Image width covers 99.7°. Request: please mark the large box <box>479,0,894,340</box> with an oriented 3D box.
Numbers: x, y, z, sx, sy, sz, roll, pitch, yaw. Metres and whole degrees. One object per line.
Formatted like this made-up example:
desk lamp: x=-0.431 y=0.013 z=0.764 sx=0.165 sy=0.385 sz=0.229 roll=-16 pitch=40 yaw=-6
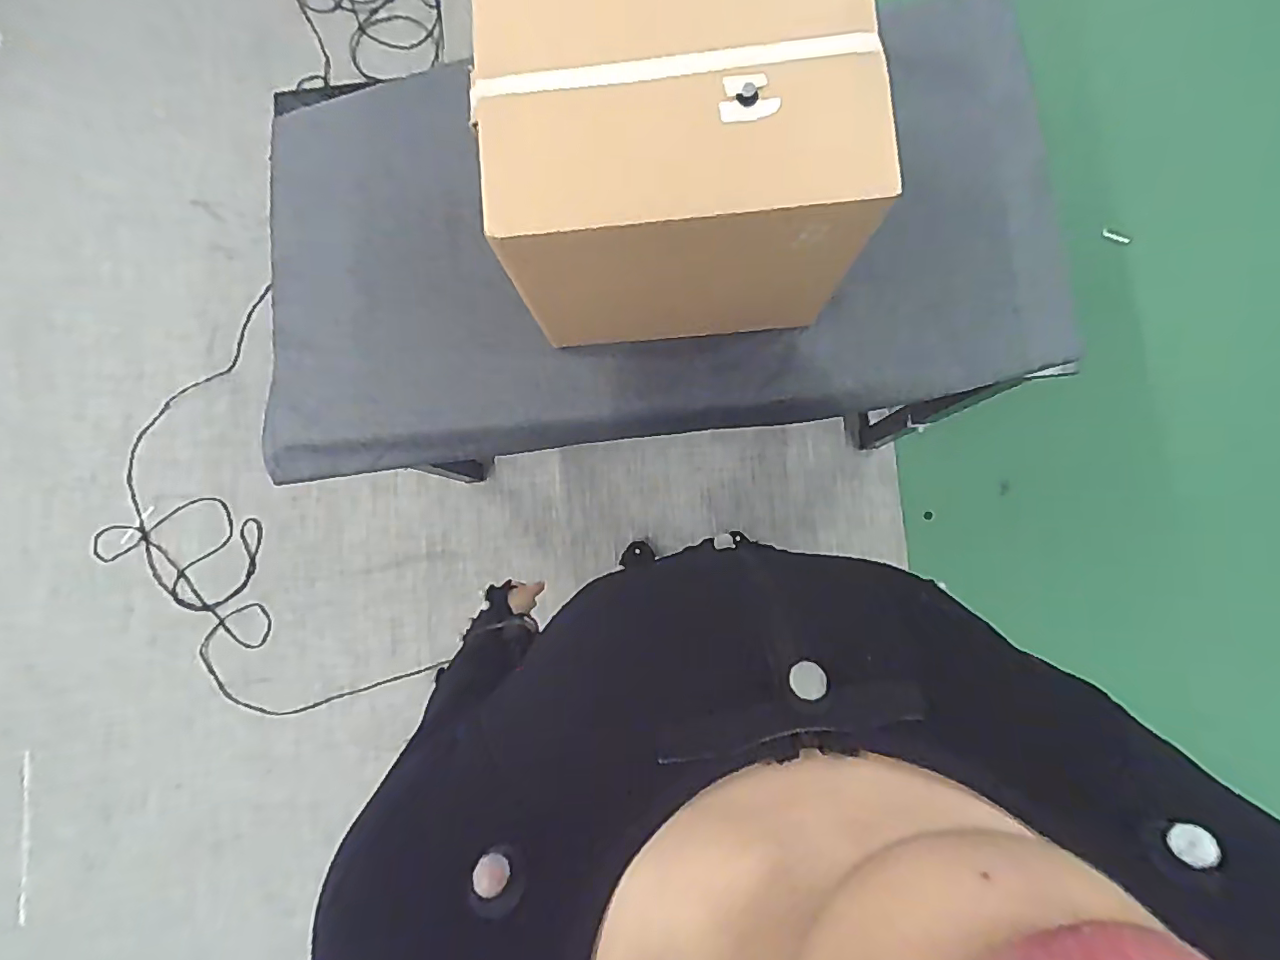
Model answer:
large box: x=0.043 y=-0.399 z=0.697 sx=0.408 sy=0.320 sz=0.320 roll=-5 pitch=84 yaw=2
